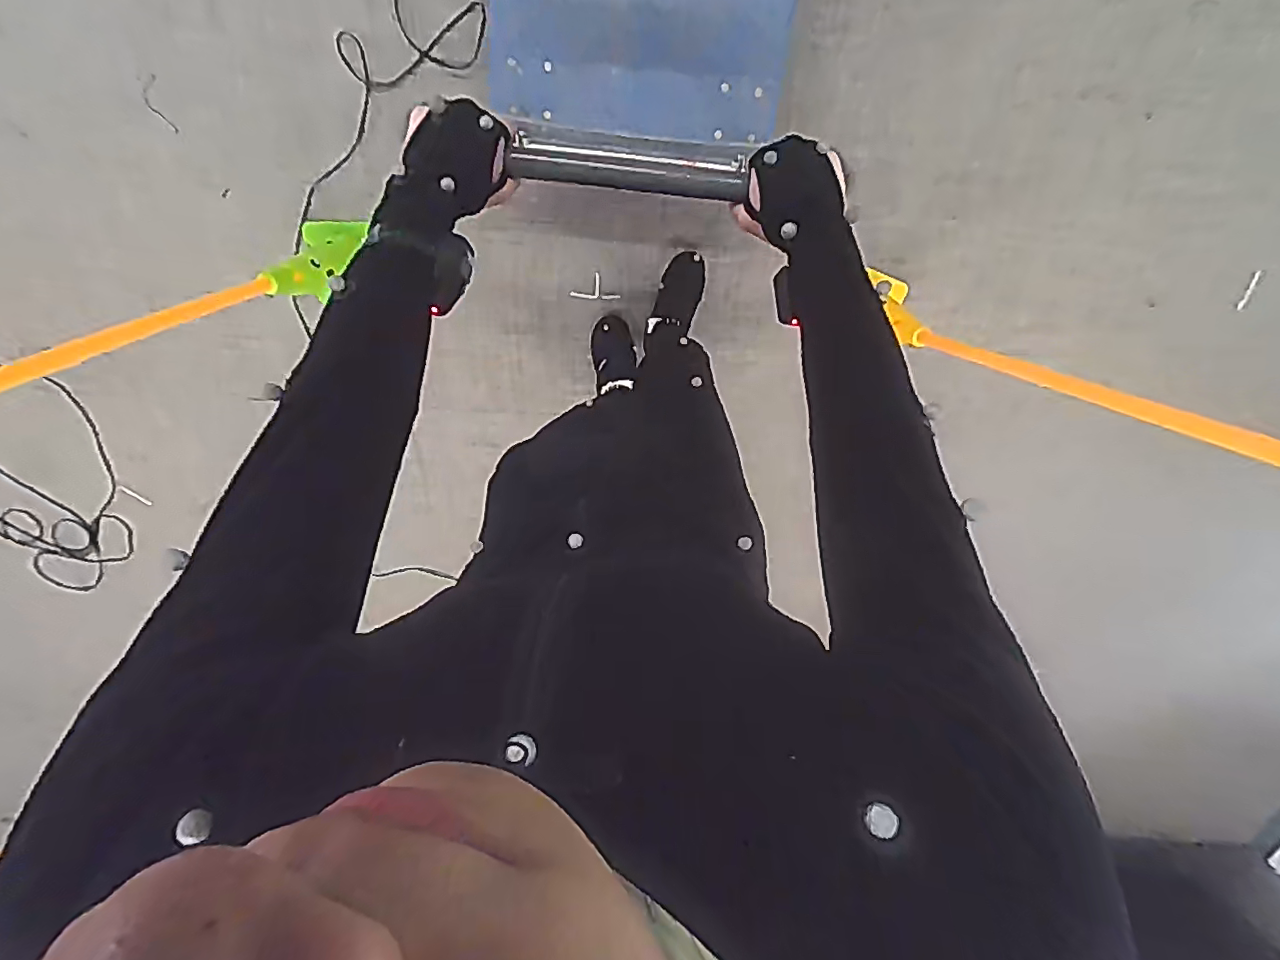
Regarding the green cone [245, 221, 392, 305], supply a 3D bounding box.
[{"bbox_3d":[-0.748,-0.471,1.221,0.202,0.368,0.200,0,117,1],"label":"green cone"}]
